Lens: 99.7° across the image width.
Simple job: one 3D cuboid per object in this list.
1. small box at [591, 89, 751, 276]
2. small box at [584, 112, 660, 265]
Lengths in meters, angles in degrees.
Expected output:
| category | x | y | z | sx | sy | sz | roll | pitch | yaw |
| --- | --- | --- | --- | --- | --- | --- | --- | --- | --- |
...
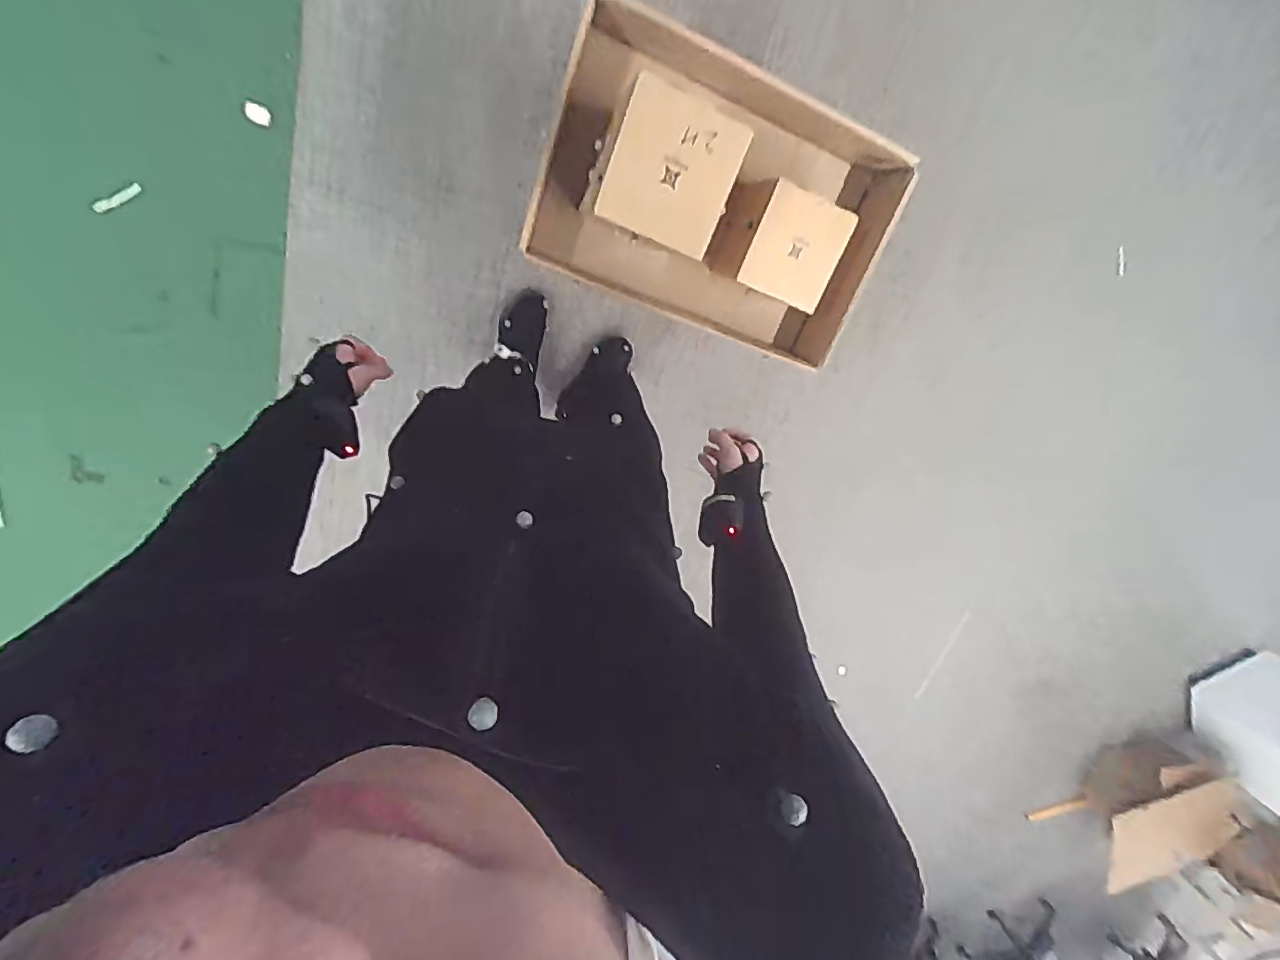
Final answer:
| category | x | y | z | sx | sy | sz | roll | pitch | yaw |
| --- | --- | --- | --- | --- | --- | --- | --- | --- | --- |
| small box | 0.032 | -0.421 | 0.795 | 0.168 | 0.176 | 0.179 | 18 | 109 | -17 |
| small box | 0.007 | -0.493 | 0.941 | 0.168 | 0.176 | 0.179 | 19 | 108 | -16 |
